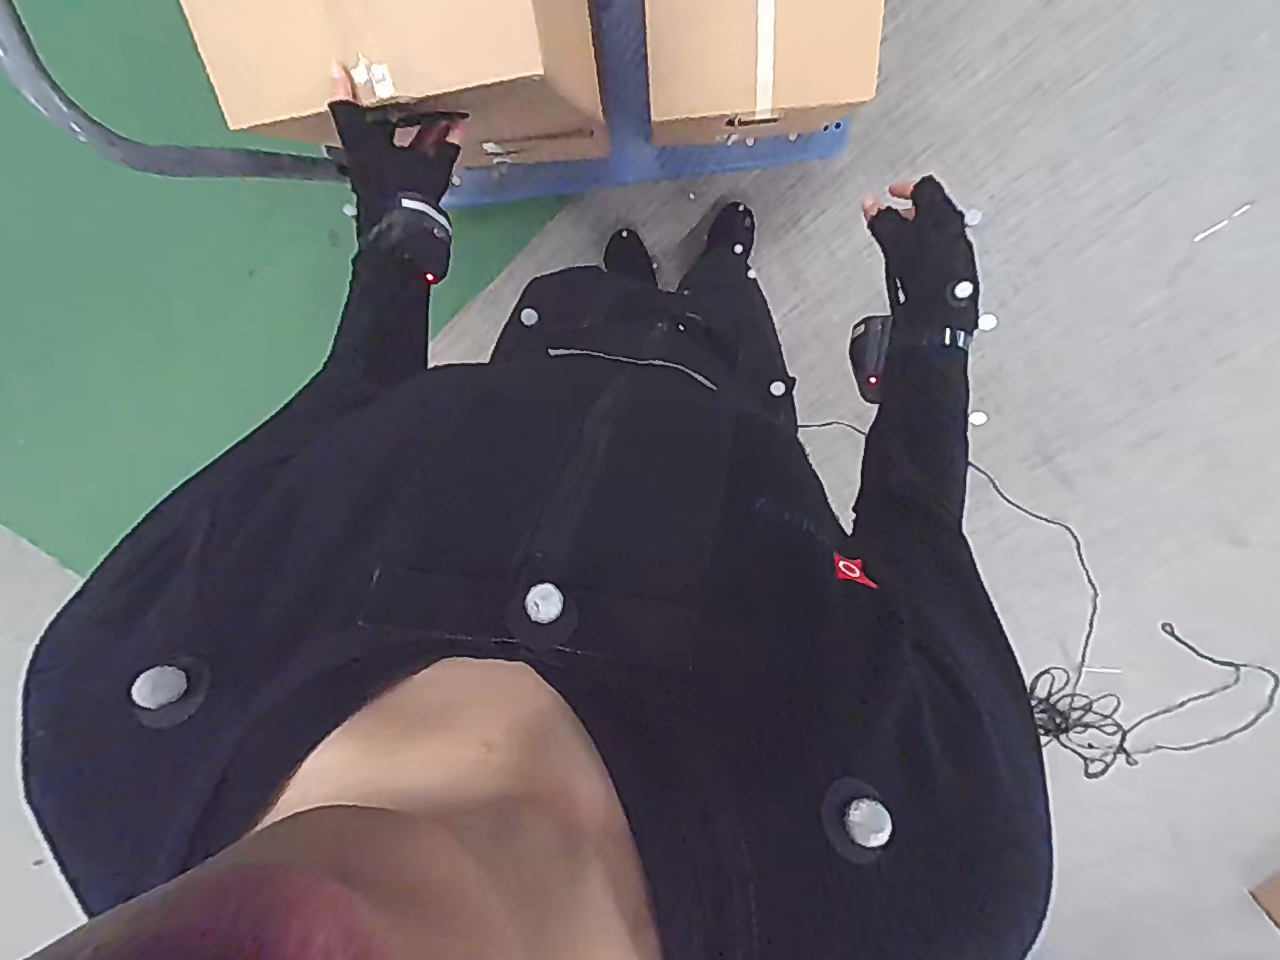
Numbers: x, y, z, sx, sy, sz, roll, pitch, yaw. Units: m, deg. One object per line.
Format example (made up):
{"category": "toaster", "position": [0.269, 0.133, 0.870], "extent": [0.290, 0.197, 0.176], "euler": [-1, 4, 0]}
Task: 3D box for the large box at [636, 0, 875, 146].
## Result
{"category": "large box", "position": [0.154, -0.763, 0.808], "extent": [0.320, 0.320, 0.408], "euler": [-3, 116, 4]}
